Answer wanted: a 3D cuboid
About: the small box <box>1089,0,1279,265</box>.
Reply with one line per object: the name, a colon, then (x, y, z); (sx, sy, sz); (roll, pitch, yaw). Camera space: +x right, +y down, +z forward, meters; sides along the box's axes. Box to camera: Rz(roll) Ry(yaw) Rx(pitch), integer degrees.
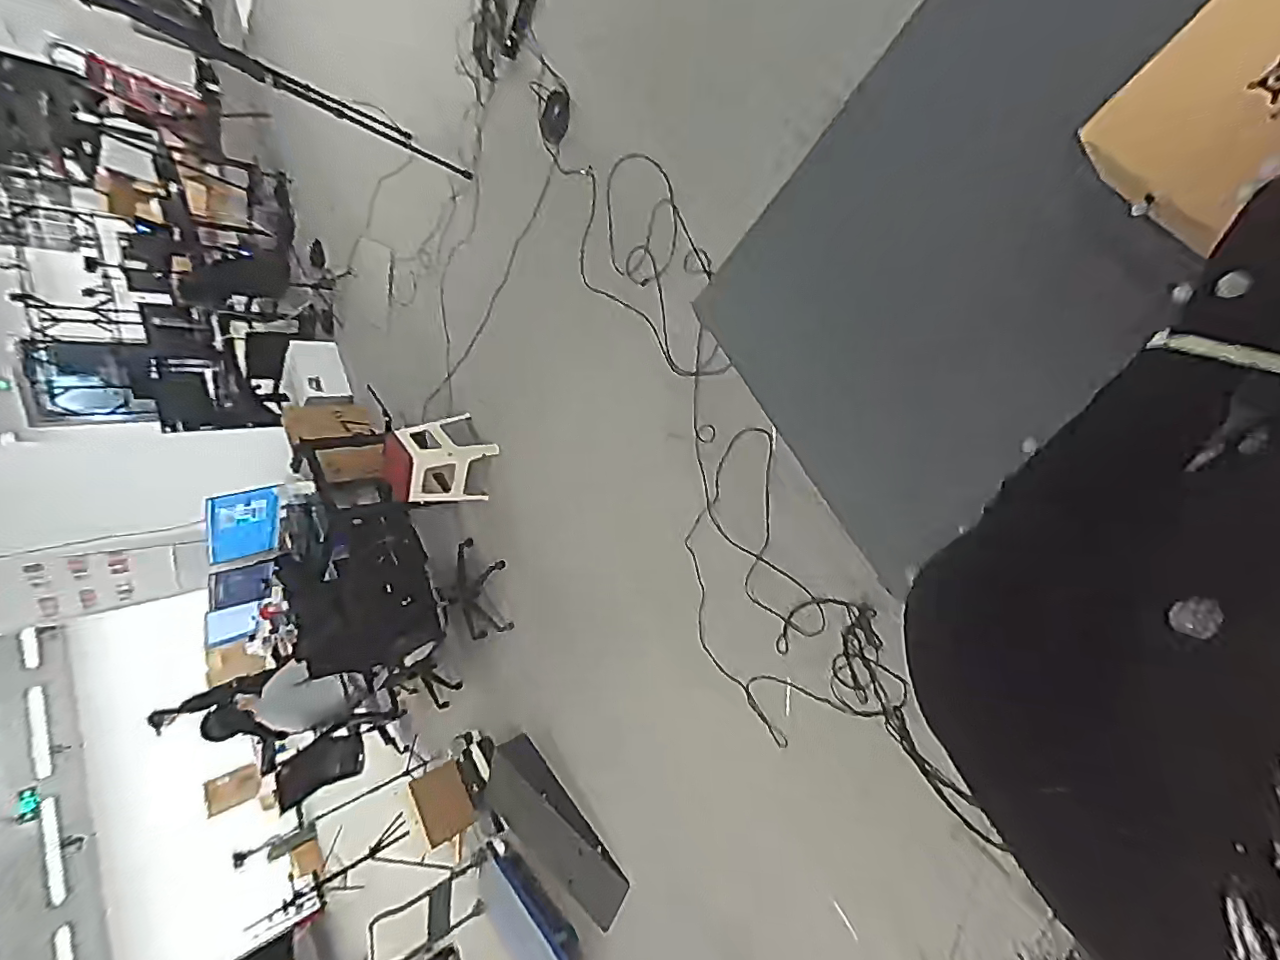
small box: (0.526, -0.299, 0.441); (0.179, 0.176, 0.168); (58, 134, 21)
